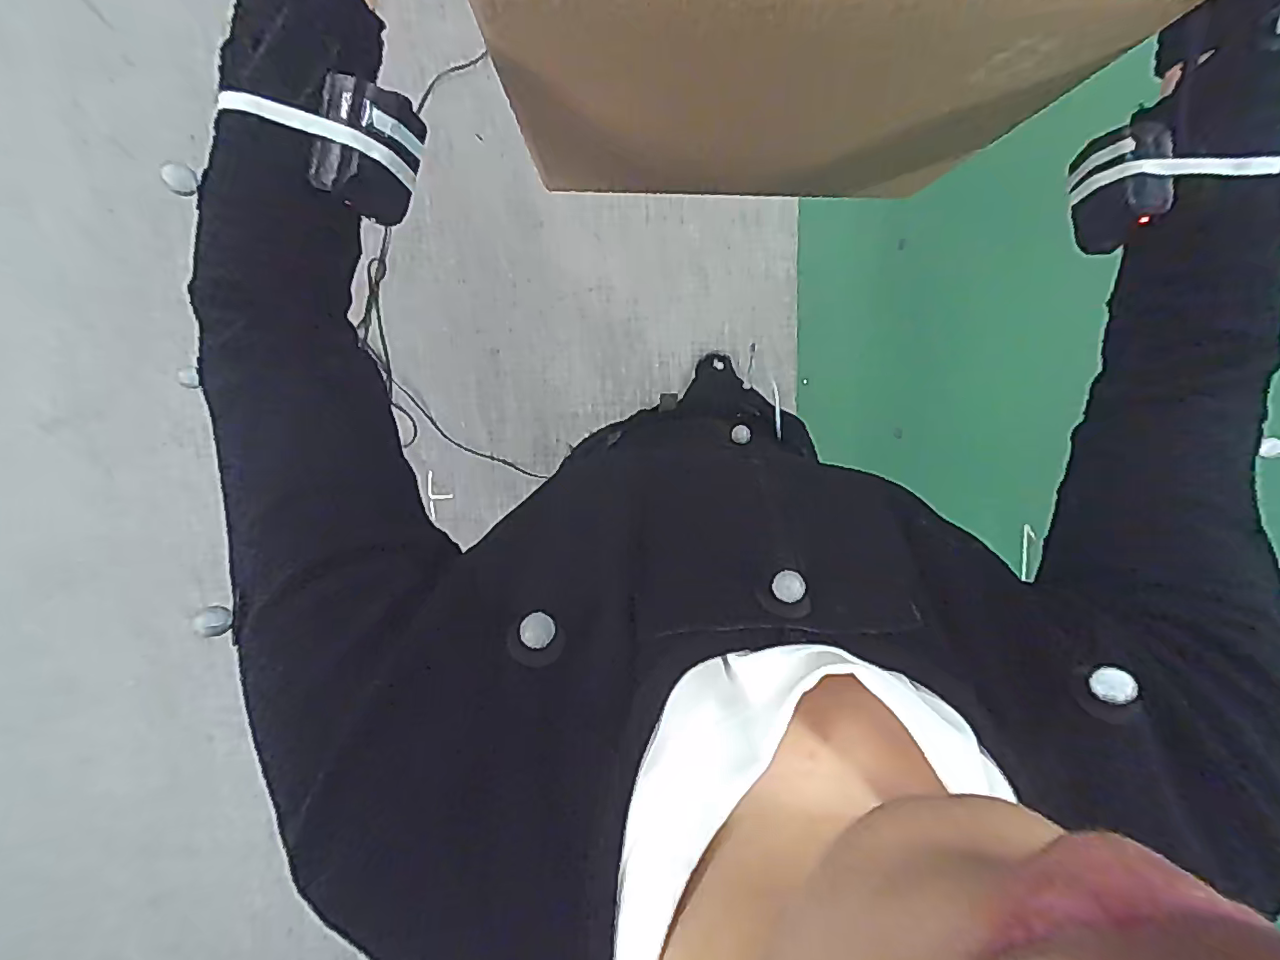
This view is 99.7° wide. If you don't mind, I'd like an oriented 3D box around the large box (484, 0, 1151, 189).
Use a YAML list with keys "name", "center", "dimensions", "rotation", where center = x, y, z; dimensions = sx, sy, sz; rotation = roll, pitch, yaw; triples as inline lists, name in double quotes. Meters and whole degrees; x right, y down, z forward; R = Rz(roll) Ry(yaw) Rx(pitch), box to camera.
- name: "large box"
  center: [0.097, -0.444, 0.416]
  dimensions: [0.408, 0.320, 0.320]
  rotation: [0, 100, -2]
